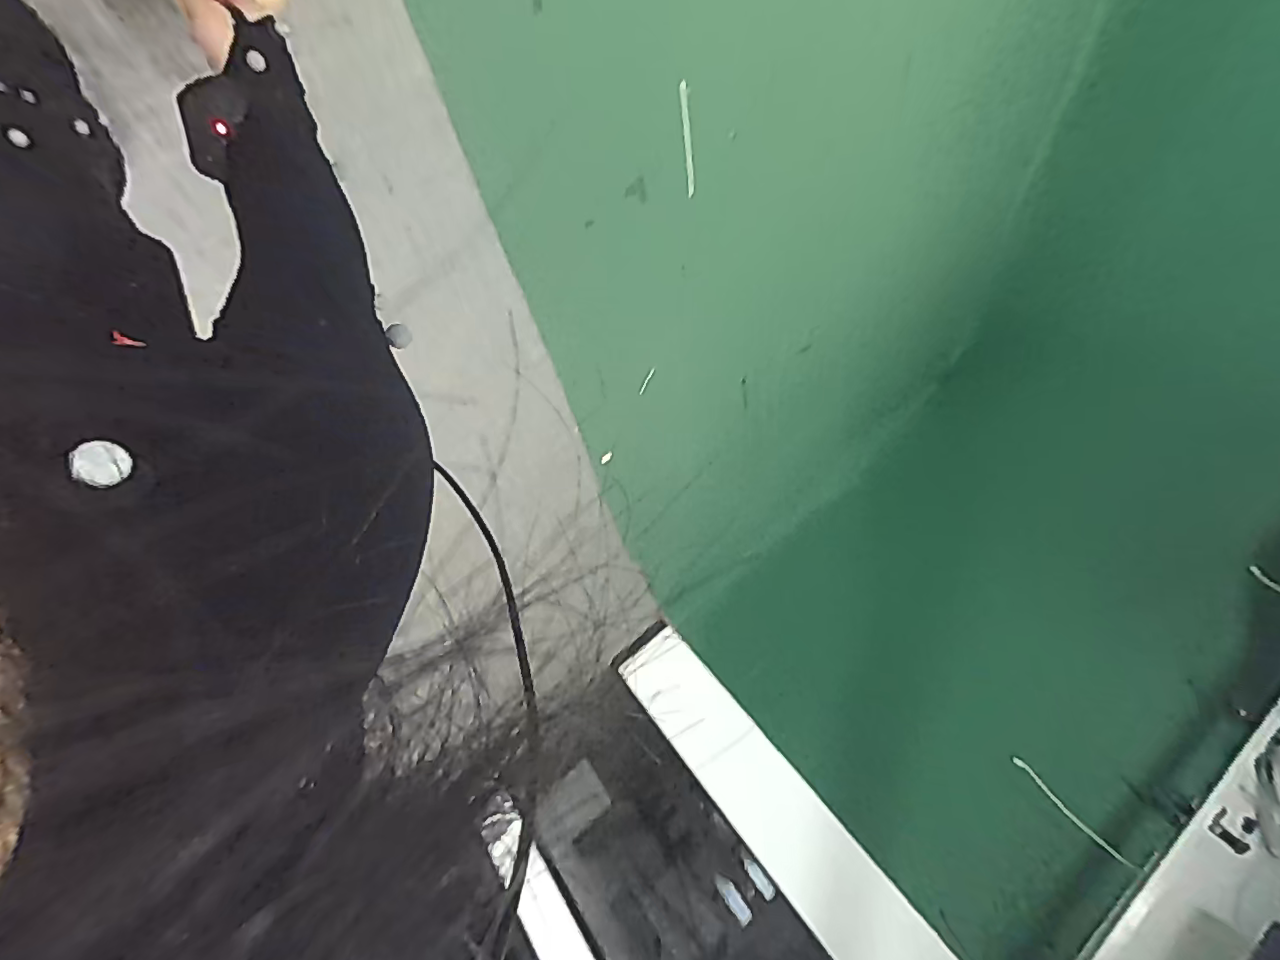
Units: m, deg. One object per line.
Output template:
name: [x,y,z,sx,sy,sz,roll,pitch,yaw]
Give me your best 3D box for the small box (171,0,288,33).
small box: [-0.653,-0.805,0.795,0.168,0.176,0.179,-37,146,-13]
